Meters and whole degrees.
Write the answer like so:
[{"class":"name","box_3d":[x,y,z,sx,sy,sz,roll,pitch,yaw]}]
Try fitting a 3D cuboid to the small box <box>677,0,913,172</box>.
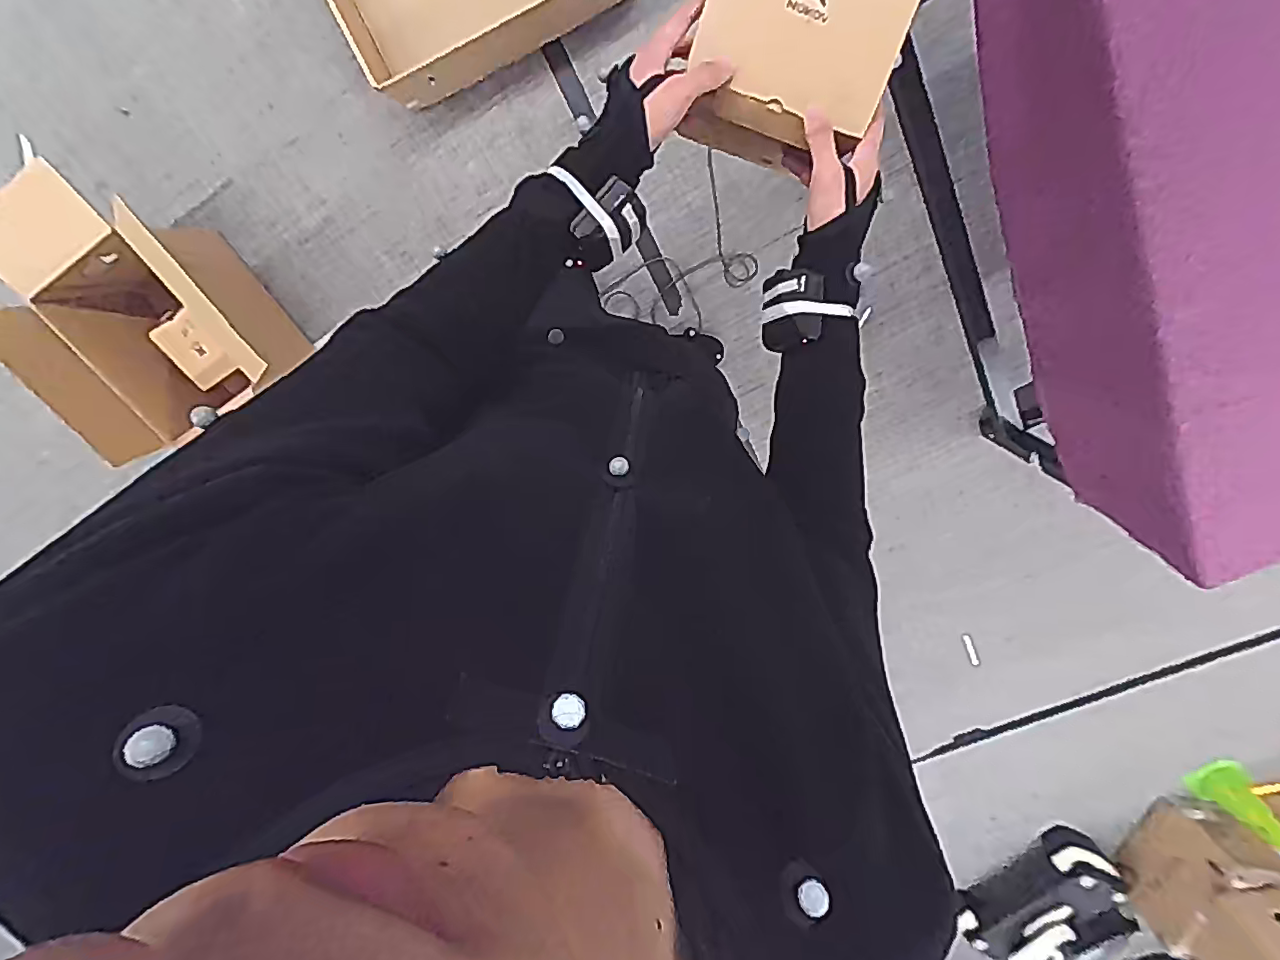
[{"class":"small box","box_3d":[0.140,-0.420,0.507,0.168,0.176,0.179,18,107,-4]}]
